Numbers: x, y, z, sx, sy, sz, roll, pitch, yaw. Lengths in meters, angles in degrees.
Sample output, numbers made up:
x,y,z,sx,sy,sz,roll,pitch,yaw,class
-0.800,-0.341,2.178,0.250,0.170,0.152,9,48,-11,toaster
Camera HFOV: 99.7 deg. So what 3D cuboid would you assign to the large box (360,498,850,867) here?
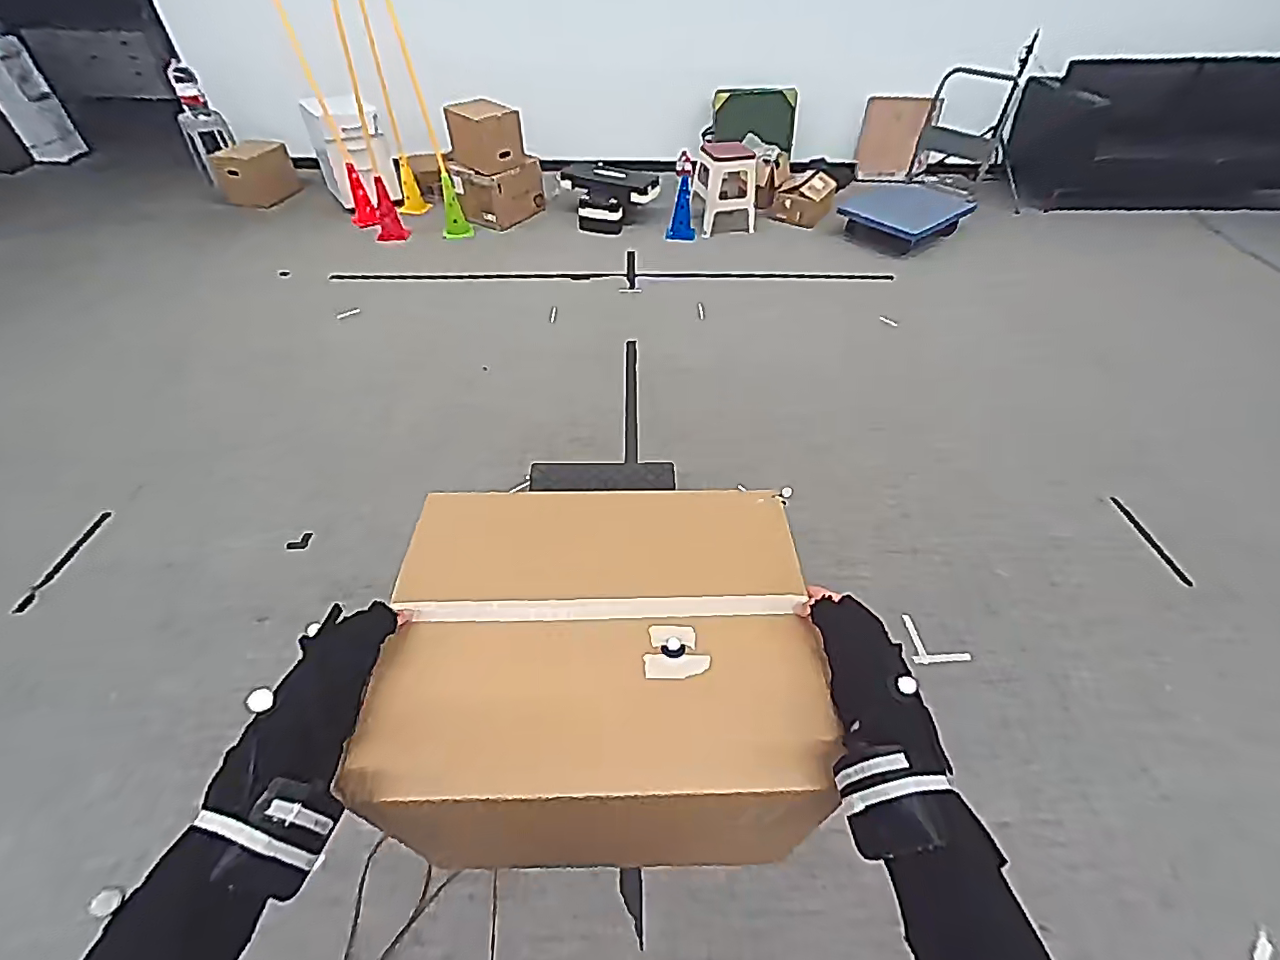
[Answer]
x,y,z,sx,sy,sz,roll,pitch,yaw,class
-0.033,0.238,0.640,0.408,0.320,0.320,0,46,-1,large box
